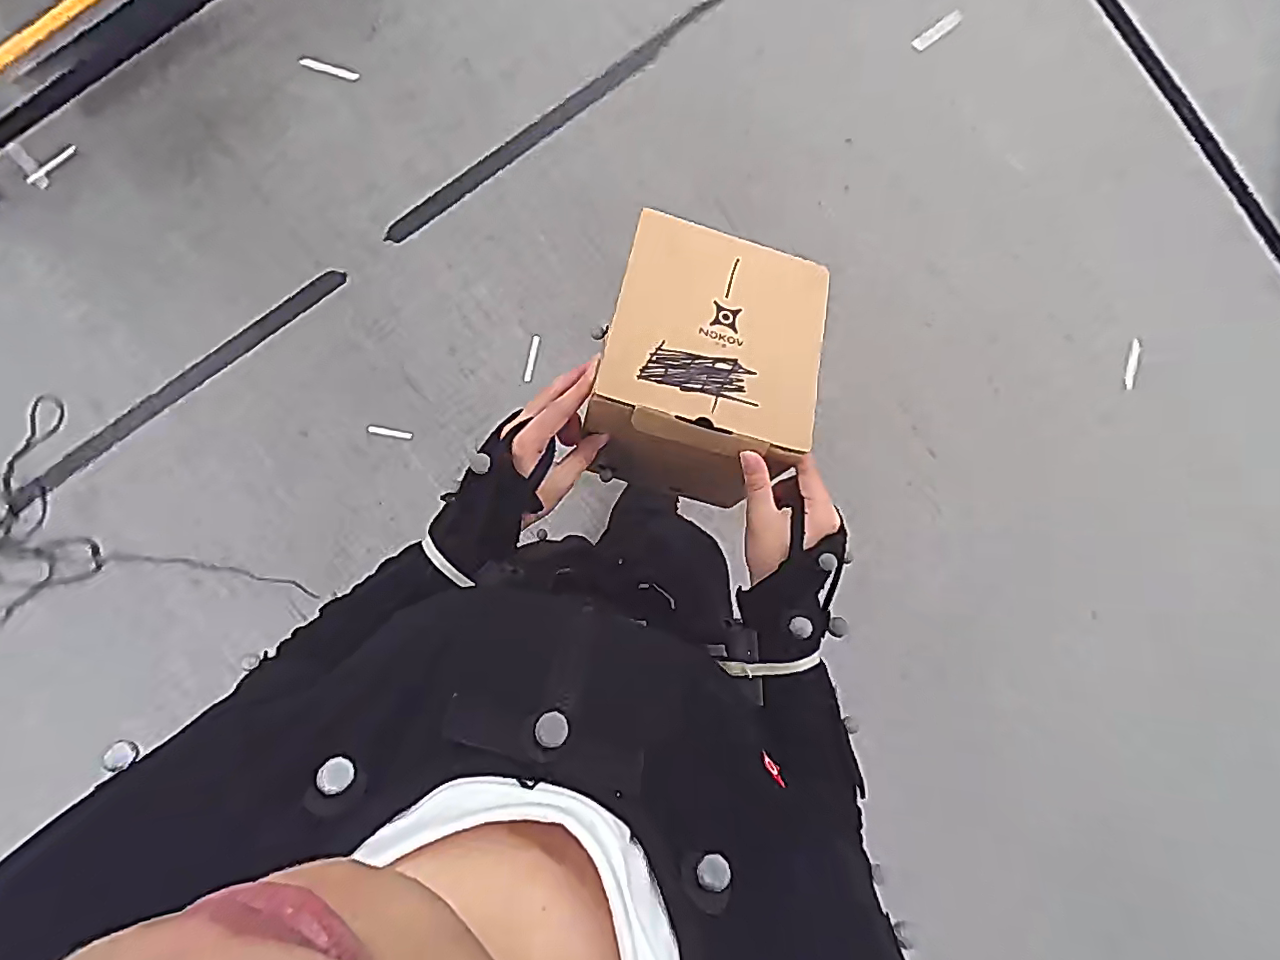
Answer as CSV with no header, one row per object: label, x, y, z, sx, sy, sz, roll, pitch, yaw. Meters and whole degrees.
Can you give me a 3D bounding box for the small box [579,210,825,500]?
small box,0.044,-0.094,0.488,0.168,0.176,0.179,14,71,-7
